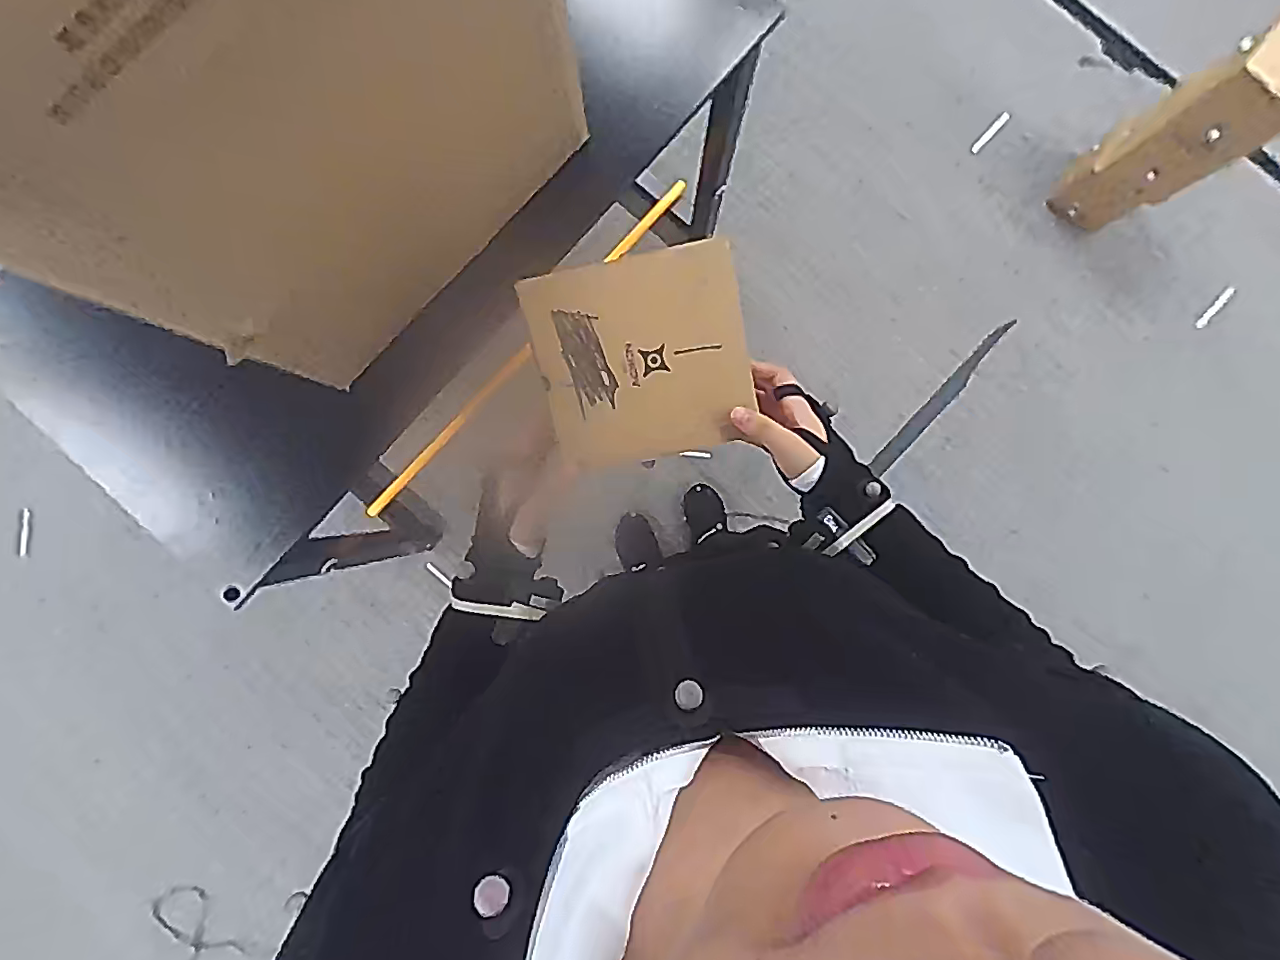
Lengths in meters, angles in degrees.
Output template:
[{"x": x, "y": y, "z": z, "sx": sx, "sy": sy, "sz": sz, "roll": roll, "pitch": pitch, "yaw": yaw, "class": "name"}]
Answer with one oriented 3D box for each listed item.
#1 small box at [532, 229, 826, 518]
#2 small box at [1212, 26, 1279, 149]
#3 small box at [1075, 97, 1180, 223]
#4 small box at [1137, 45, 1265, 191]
[{"x": 0.026, "y": -0.082, "z": 0.441, "sx": 0.179, "sy": 0.176, "sz": 0.168, "roll": -13, "pitch": 102, "yaw": -2, "class": "small box"}, {"x": 1.294, "y": -0.801, "z": 1.047, "sx": 0.168, "sy": 0.176, "sz": 0.179, "roll": 39, "pitch": 89, "yaw": 2, "class": "small box"}, {"x": 1.274, "y": -0.805, "z": 1.377, "sx": 0.168, "sy": 0.176, "sz": 0.179, "roll": 35, "pitch": 90, "yaw": 2, "class": "small box"}, {"x": 1.287, "y": -0.798, "z": 1.213, "sx": 0.168, "sy": 0.176, "sz": 0.179, "roll": 35, "pitch": 89, "yaw": 2, "class": "small box"}]
